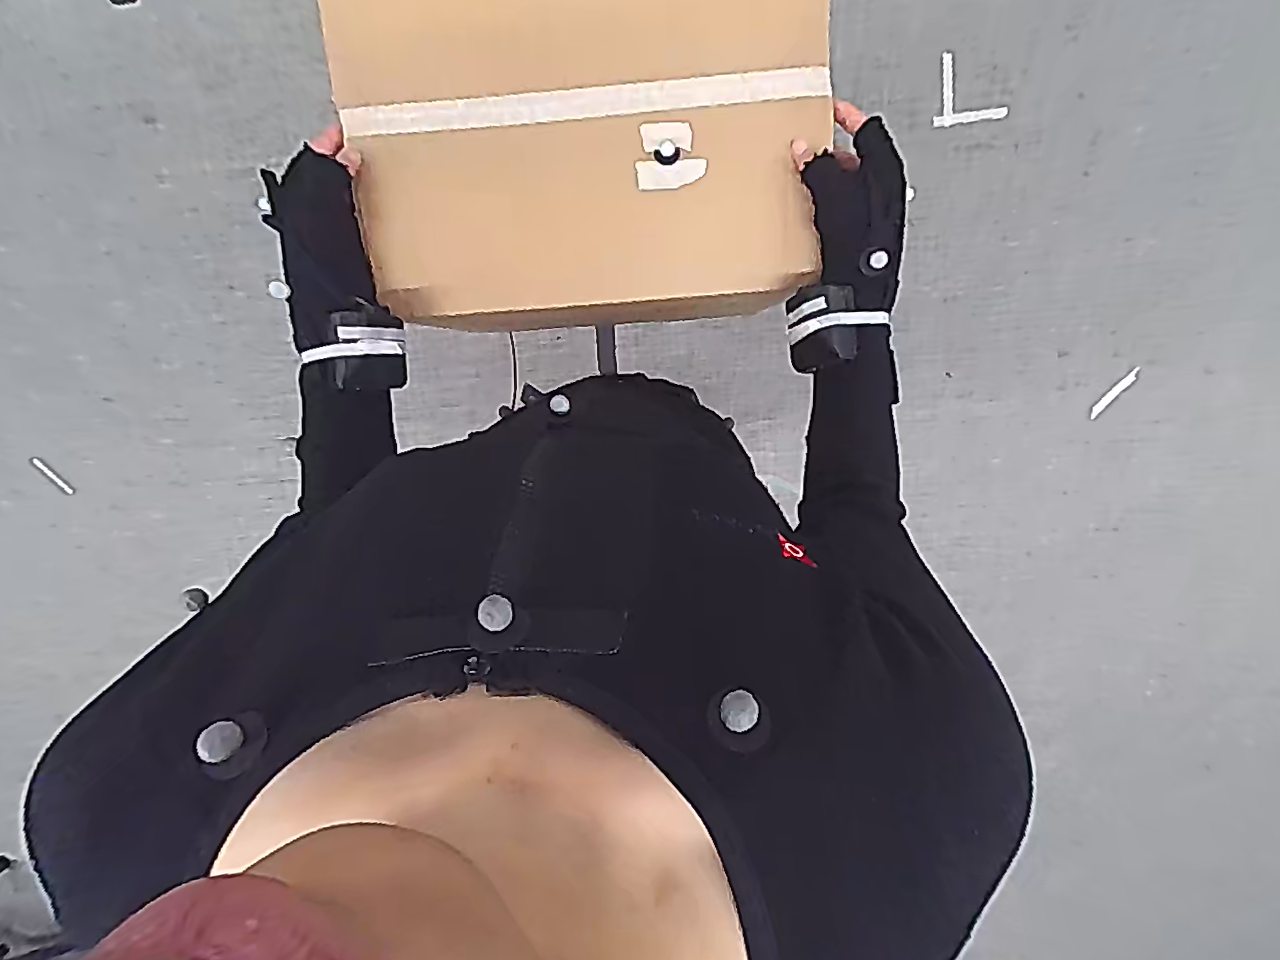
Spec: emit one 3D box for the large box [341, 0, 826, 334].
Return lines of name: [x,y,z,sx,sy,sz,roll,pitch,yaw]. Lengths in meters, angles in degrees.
large box: [-0.043,-0.348,0.606,0.408,0.320,0.320,-4,103,1]
